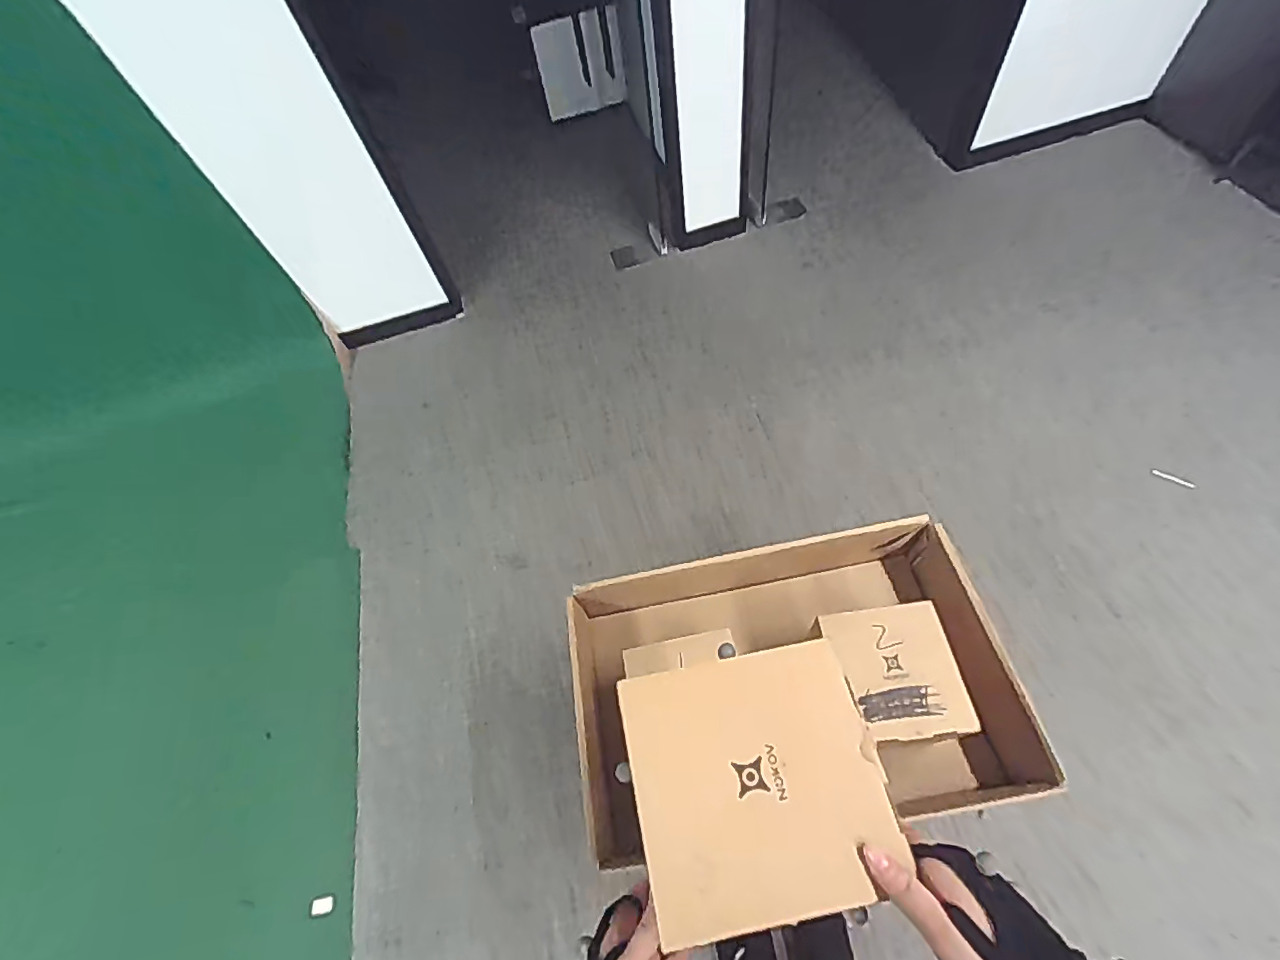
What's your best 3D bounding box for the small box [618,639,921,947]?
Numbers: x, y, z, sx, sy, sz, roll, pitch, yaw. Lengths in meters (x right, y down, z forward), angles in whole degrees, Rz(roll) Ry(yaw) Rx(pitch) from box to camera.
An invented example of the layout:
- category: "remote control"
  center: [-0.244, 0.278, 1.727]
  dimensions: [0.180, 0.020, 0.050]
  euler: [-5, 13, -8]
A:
- category: "small box"
  center: [0.085, 0.248, 0.448]
  dimensions: [0.179, 0.176, 0.168]
  euler: [-10, 61, -5]
